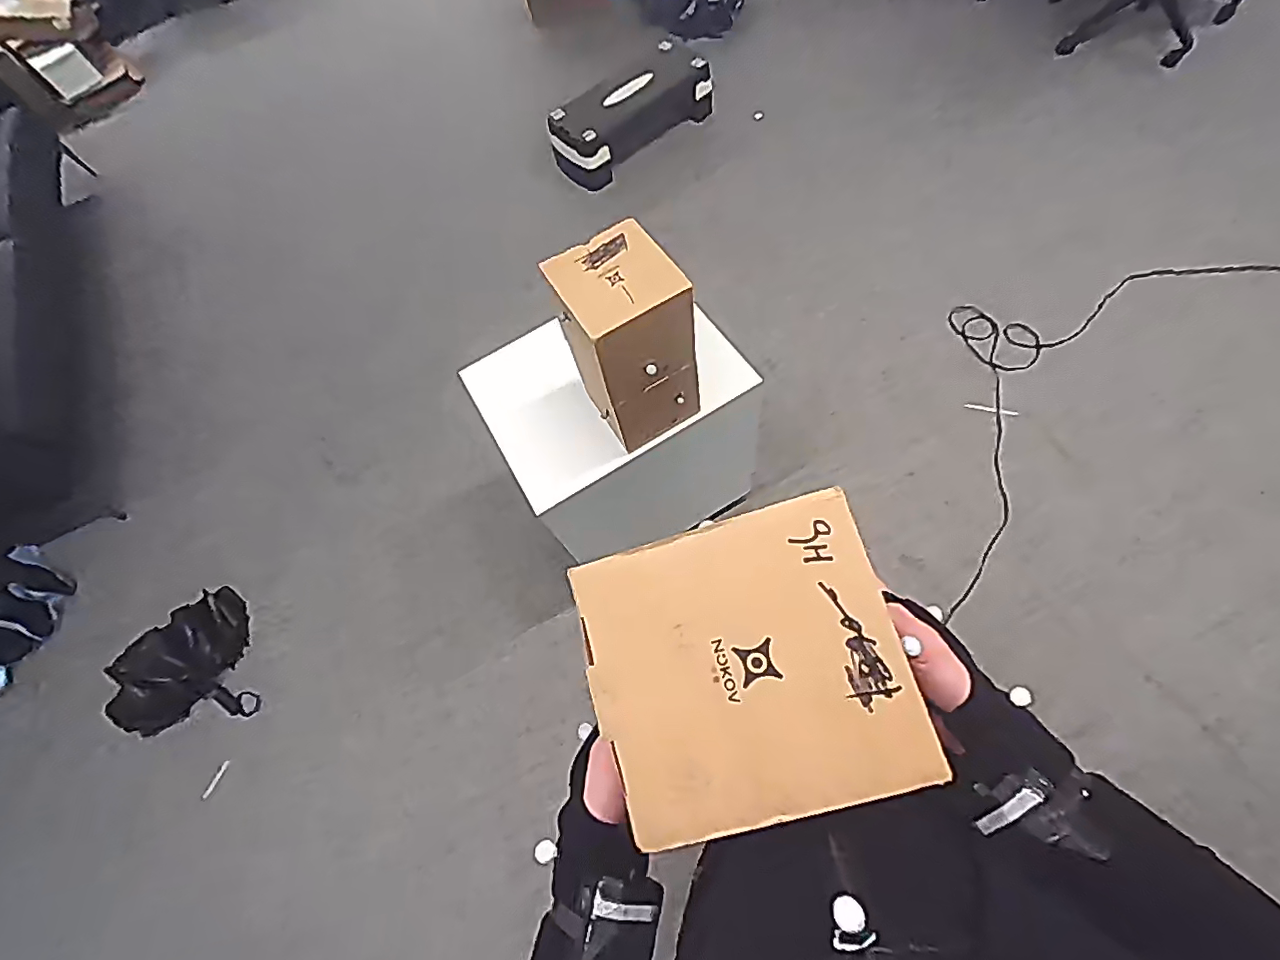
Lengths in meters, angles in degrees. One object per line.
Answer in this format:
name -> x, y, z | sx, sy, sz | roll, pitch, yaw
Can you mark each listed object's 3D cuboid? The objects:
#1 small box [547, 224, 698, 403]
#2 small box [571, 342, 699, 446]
small box -> -0.022, -0.257, 0.856 | 0.168, 0.176, 0.179 | -30, 65, -7
small box -> -0.001, -0.185, 1.003 | 0.168, 0.176, 0.179 | -30, 63, -7
